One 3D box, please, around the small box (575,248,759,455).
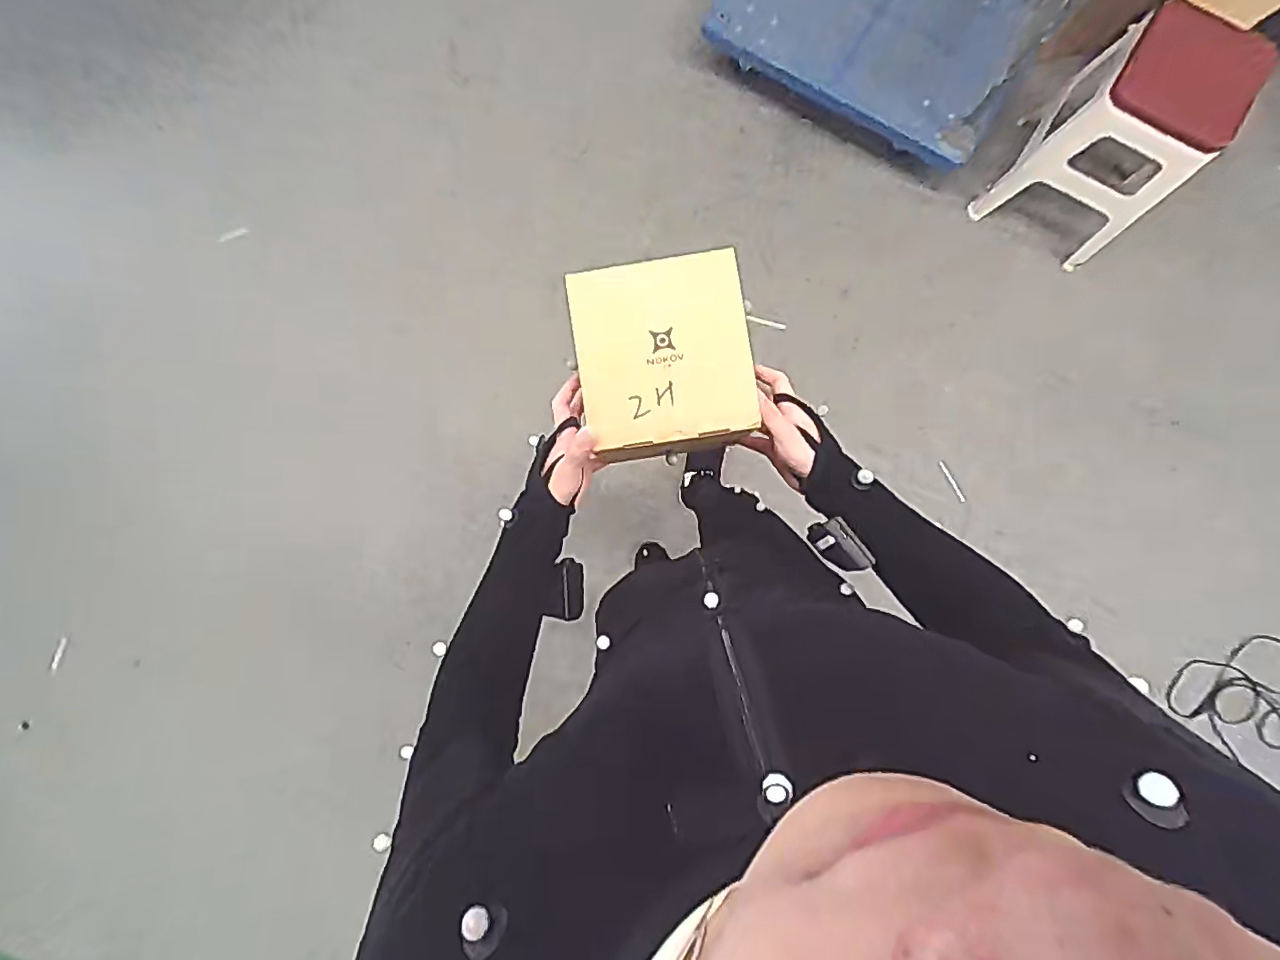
[{"bbox_3d":[0.026,-0.129,0.603,0.168,0.176,0.179,-7,88,1],"label":"small box"}]
